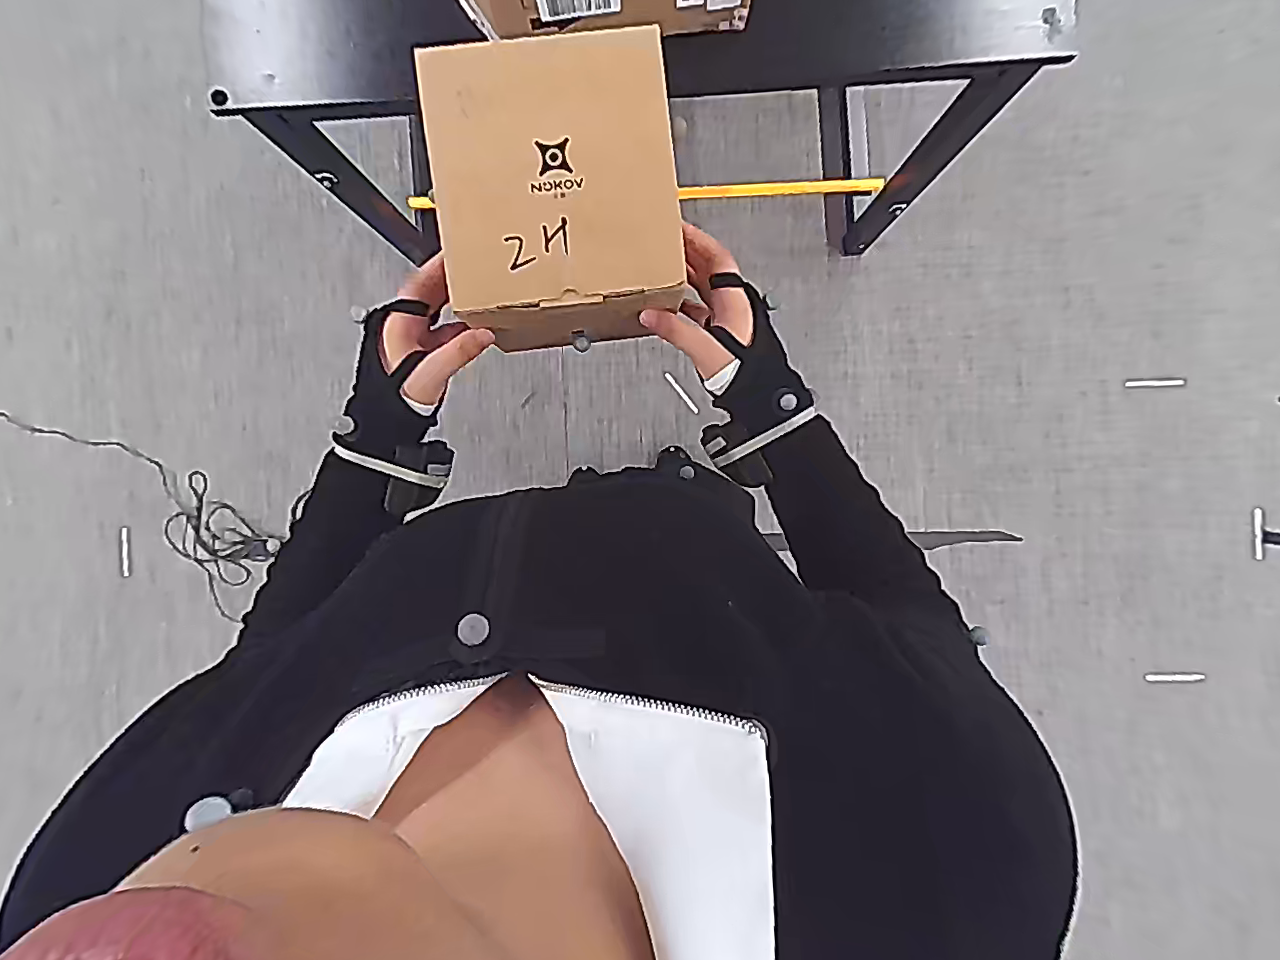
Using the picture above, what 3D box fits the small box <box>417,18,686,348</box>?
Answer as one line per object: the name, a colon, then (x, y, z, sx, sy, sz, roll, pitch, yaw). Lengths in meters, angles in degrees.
small box: (-0.061, -0.217, 0.441, 0.168, 0.176, 0.179, -7, 94, -1)
